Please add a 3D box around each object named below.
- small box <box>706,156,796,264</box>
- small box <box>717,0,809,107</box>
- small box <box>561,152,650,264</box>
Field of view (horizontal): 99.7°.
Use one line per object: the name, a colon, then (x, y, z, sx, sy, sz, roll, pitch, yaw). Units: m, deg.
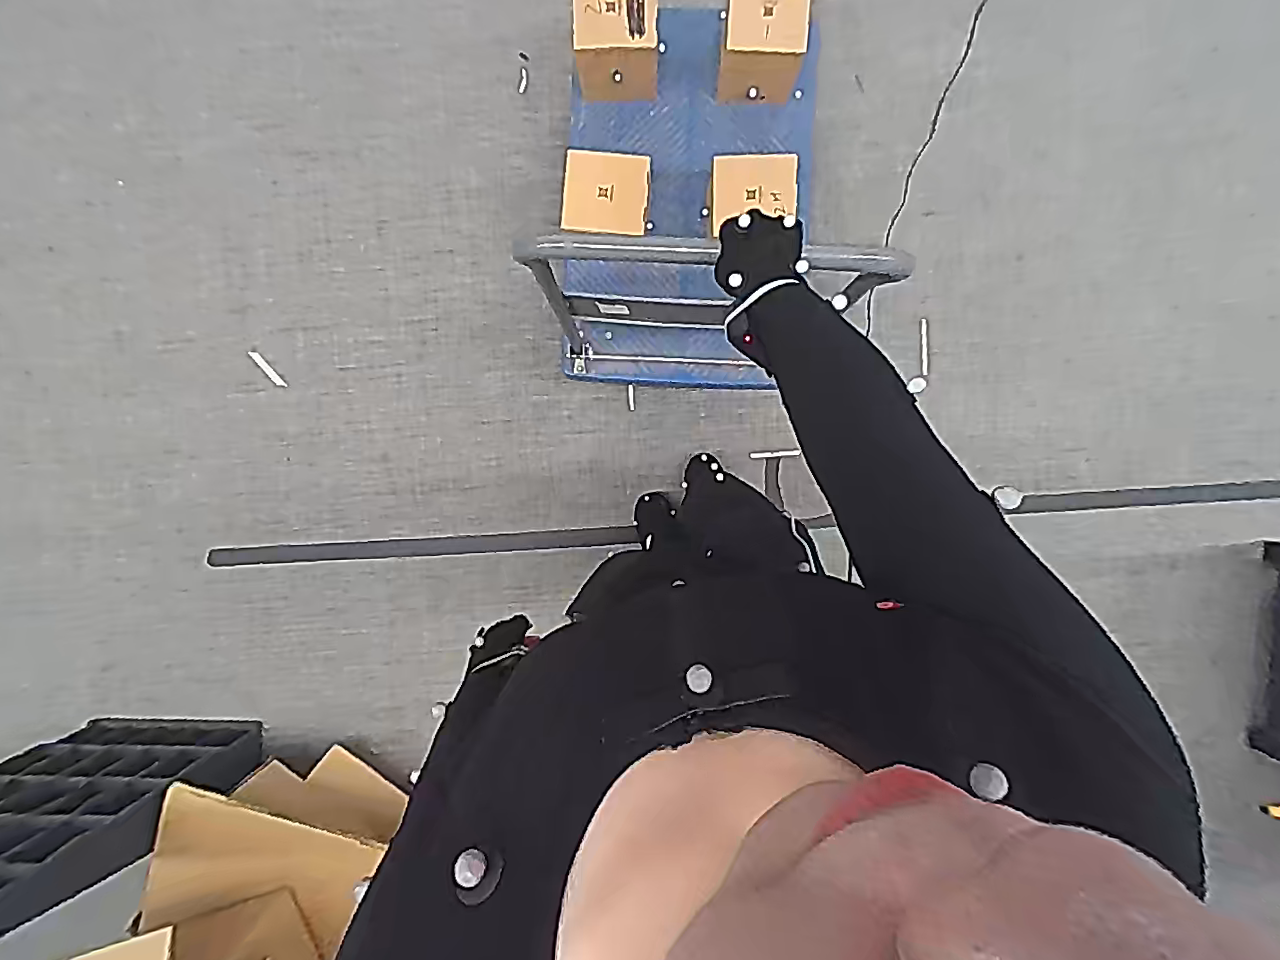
small box: (0.239, -0.589, 1.199, 0.179, 0.176, 0.168, 0, 92, 1)
small box: (0.263, -0.964, 1.184, 0.168, 0.176, 0.179, 3, 94, 1)
small box: (-0.071, -0.598, 1.207, 0.179, 0.176, 0.168, 5, 92, 0)
